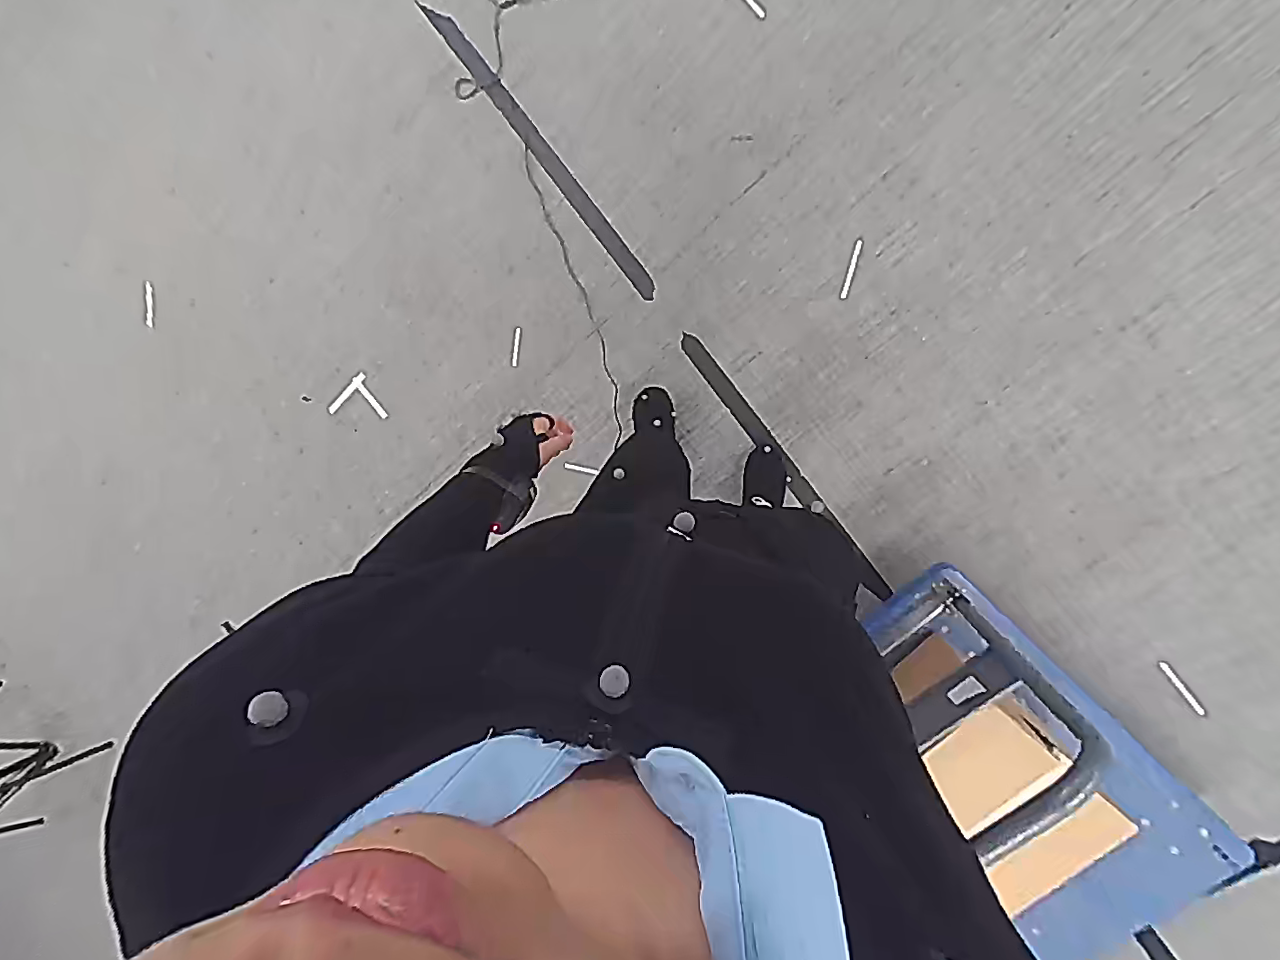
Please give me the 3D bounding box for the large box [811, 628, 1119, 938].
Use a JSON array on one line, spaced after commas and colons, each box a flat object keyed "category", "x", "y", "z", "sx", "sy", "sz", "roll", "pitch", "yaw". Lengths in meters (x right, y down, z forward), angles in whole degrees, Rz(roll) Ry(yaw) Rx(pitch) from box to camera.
[{"category": "large box", "x": 0.617, "y": 0.594, "z": 1.120, "sx": 0.320, "sy": 0.320, "sz": 0.408, "roll": 41, "pitch": 105, "yaw": 6}]
